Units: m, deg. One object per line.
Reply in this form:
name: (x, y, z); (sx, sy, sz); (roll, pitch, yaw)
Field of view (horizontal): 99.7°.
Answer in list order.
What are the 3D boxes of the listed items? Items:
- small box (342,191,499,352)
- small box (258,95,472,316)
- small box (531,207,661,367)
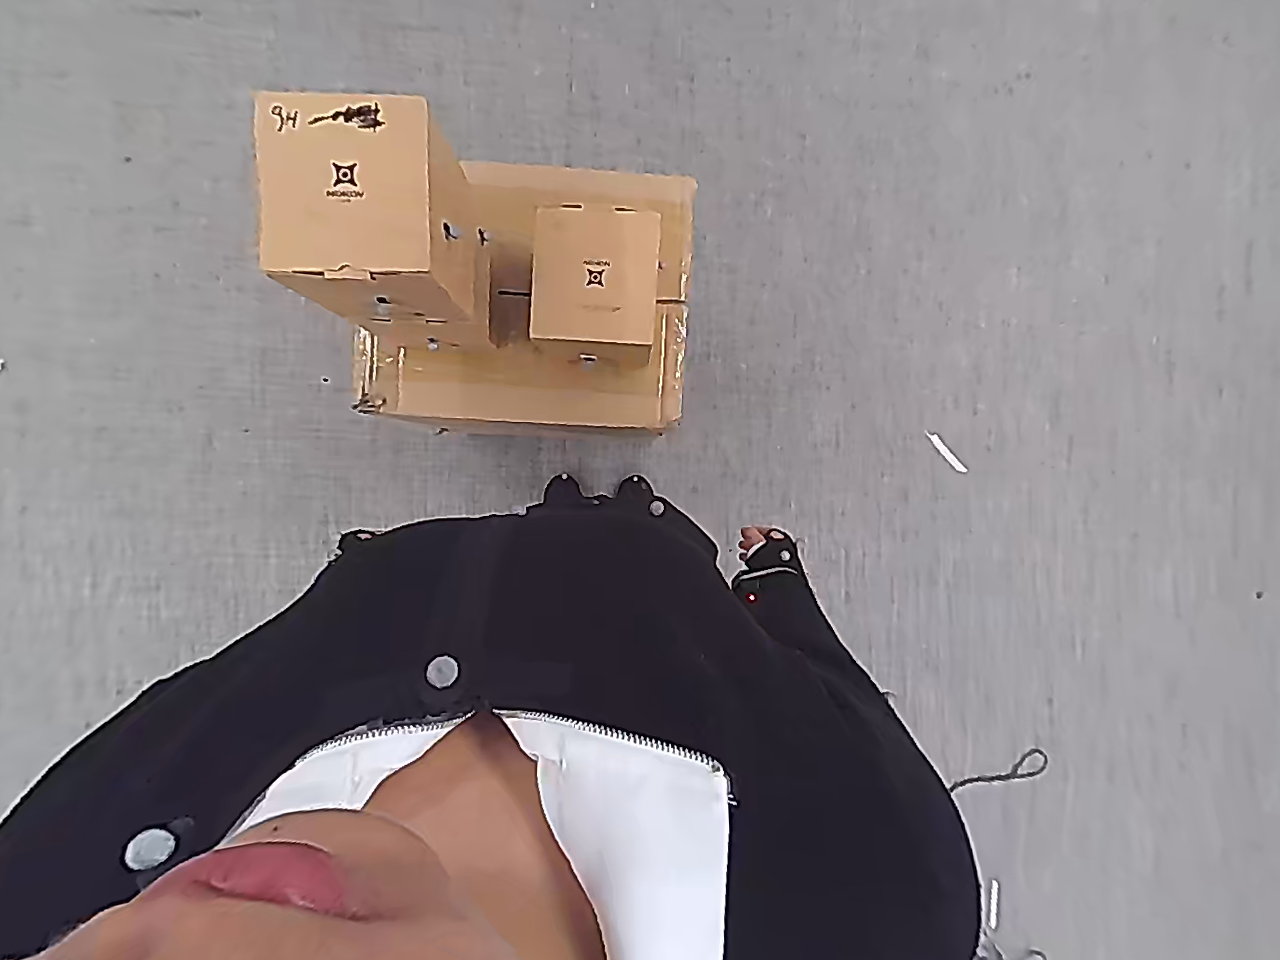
small box: (-0.303, -0.292, 0.776); (0.168, 0.176, 0.179); (1, 92, -4)
small box: (-0.293, -0.291, 0.612); (0.168, 0.176, 0.179); (-1, 92, -3)
small box: (-0.060, -0.270, 0.789); (0.168, 0.176, 0.179); (2, 93, 0)
